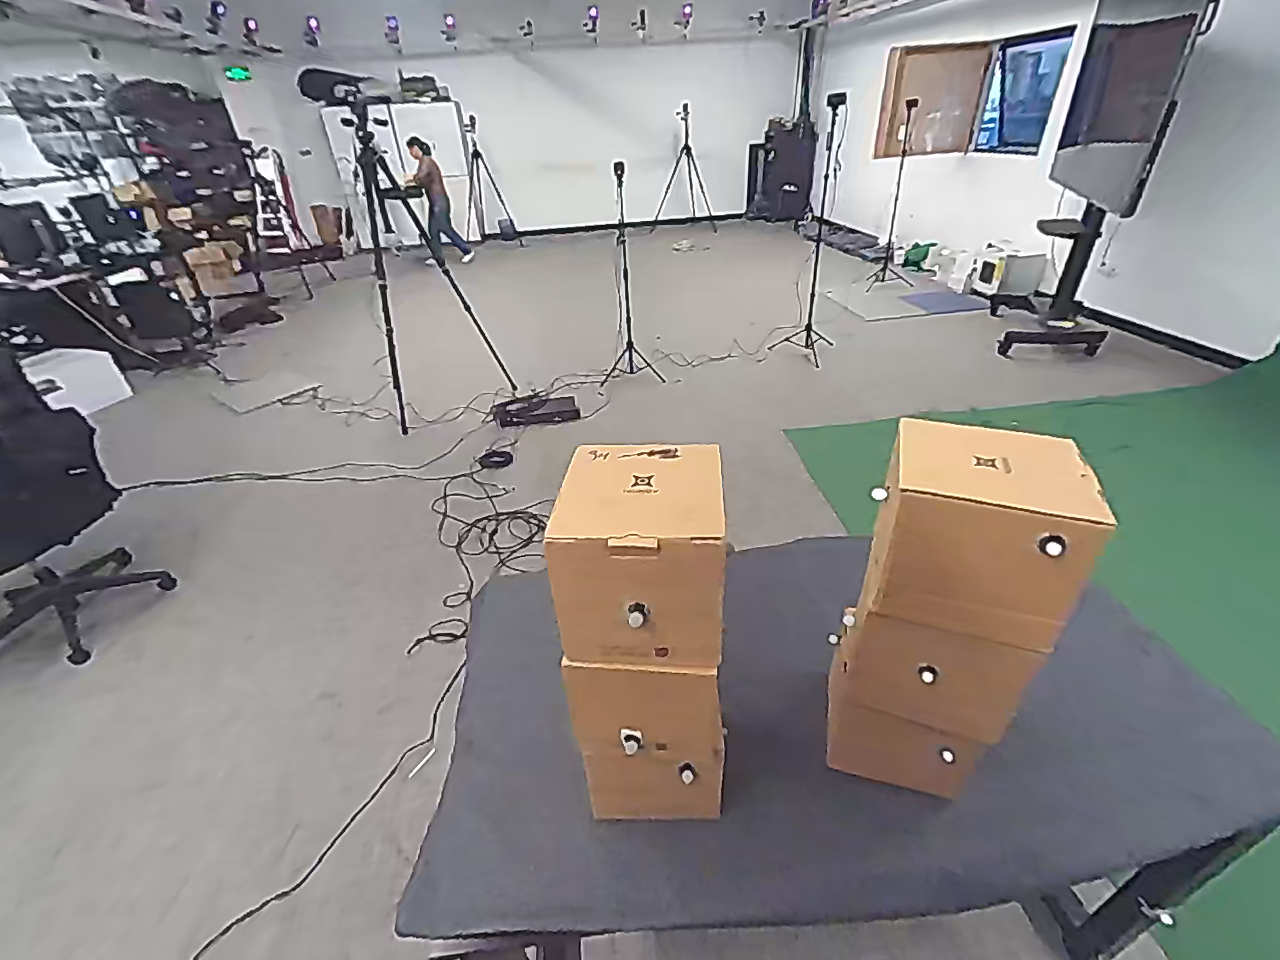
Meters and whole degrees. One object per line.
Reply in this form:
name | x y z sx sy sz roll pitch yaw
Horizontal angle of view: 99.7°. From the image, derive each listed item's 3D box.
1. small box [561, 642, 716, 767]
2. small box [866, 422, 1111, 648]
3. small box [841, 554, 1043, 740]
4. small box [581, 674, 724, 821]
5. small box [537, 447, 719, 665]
small box | 0.010 0.221 0.672 0.168 0.176 0.179 0 34 8
small box | 0.355 0.055 0.591 0.179 0.176 0.168 11 35 19
small box | 0.366 0.191 0.680 0.179 0.176 0.168 11 35 22
small box | 0.019 0.355 0.763 0.179 0.176 0.168 -2 32 3
small box | 0.002 0.080 0.588 0.168 0.176 0.179 0 34 7
